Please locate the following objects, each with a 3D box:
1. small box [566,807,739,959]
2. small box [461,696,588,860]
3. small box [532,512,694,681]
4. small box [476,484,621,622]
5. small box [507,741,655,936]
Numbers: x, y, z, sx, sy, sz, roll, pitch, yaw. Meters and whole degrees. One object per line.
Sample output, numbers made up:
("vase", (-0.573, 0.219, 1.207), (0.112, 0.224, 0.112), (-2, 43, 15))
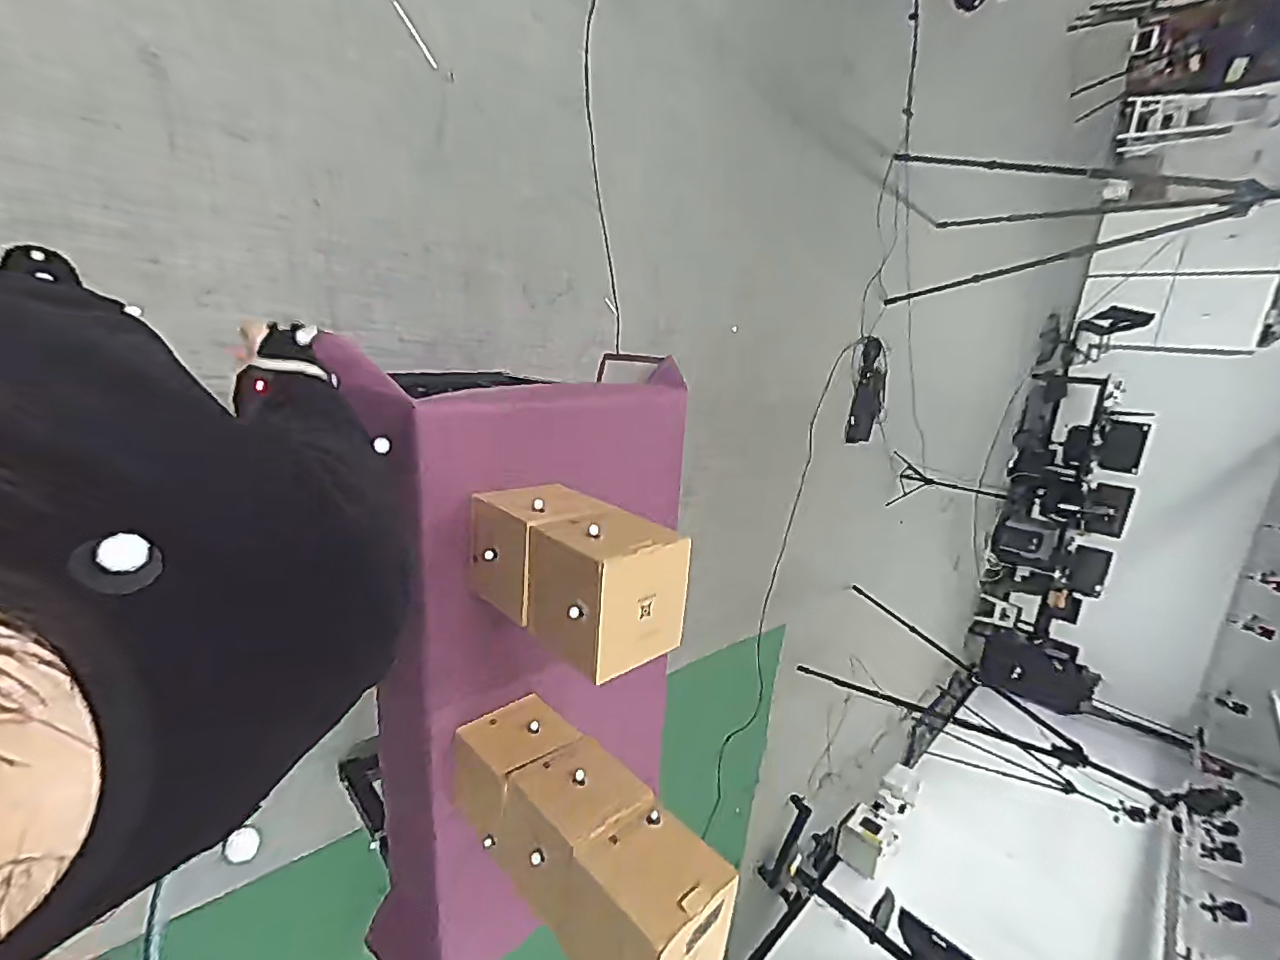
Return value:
("small box", (0.012, 0.604, 0.763), (0.168, 0.176, 0.179), (-4, 108, -45))
("small box", (-0.214, 0.524, 0.988), (0.168, 0.176, 0.179), (-9, 110, -43))
("small box", (-0.044, 0.153, 0.791), (0.168, 0.176, 0.179), (-9, 110, -42))
("small box", (-0.157, 0.109, 0.901), (0.179, 0.176, 0.168), (-7, 109, -44))
("small box", (-0.100, 0.556, 0.874), (0.168, 0.176, 0.179), (-4, 106, -44))
